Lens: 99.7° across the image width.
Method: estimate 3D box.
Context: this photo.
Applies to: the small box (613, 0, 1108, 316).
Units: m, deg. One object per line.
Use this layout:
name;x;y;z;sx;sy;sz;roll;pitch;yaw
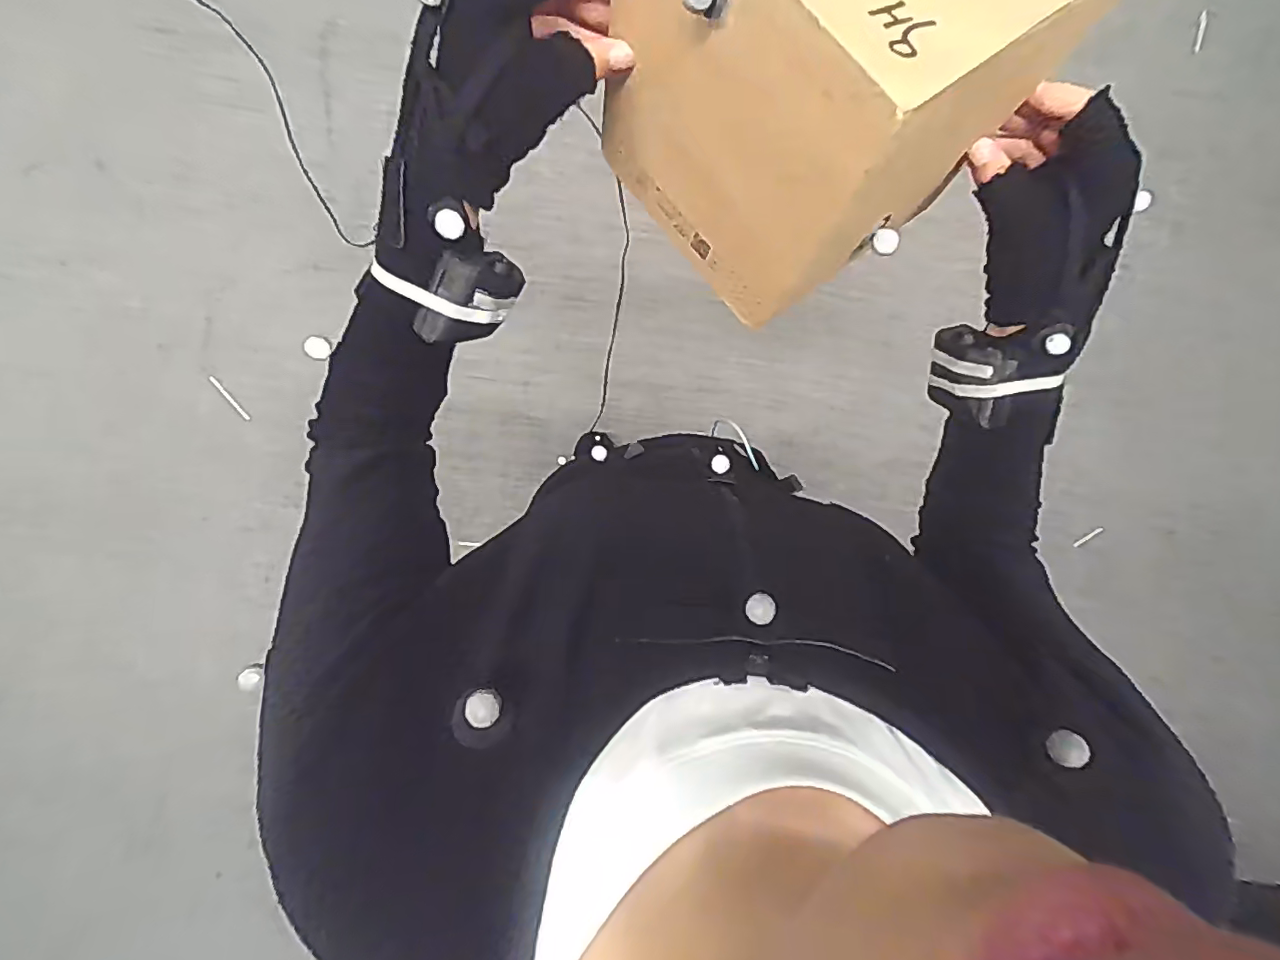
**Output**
small box;0.101;-0.232;0.308;0.179;0.176;0.168;-37;84;-14
